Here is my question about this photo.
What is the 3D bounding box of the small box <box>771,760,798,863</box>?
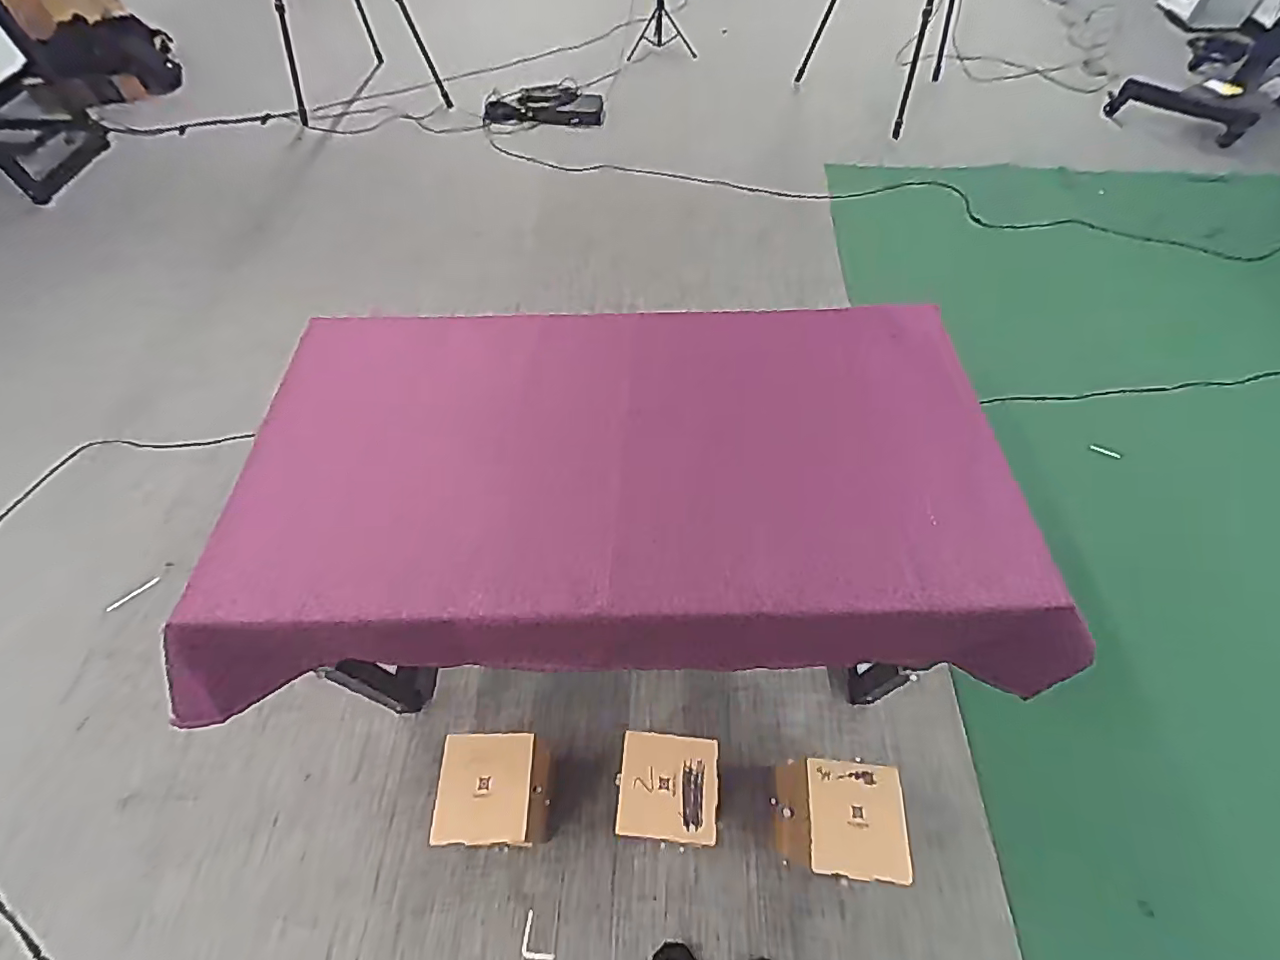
[{"bbox_3d":[0.376,0.714,1.141,0.168,0.176,0.179,9,57,7],"label":"small box"}]

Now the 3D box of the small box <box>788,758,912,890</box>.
[{"bbox_3d":[0.376,0.628,0.999,0.168,0.176,0.179,7,59,3],"label":"small box"}]
